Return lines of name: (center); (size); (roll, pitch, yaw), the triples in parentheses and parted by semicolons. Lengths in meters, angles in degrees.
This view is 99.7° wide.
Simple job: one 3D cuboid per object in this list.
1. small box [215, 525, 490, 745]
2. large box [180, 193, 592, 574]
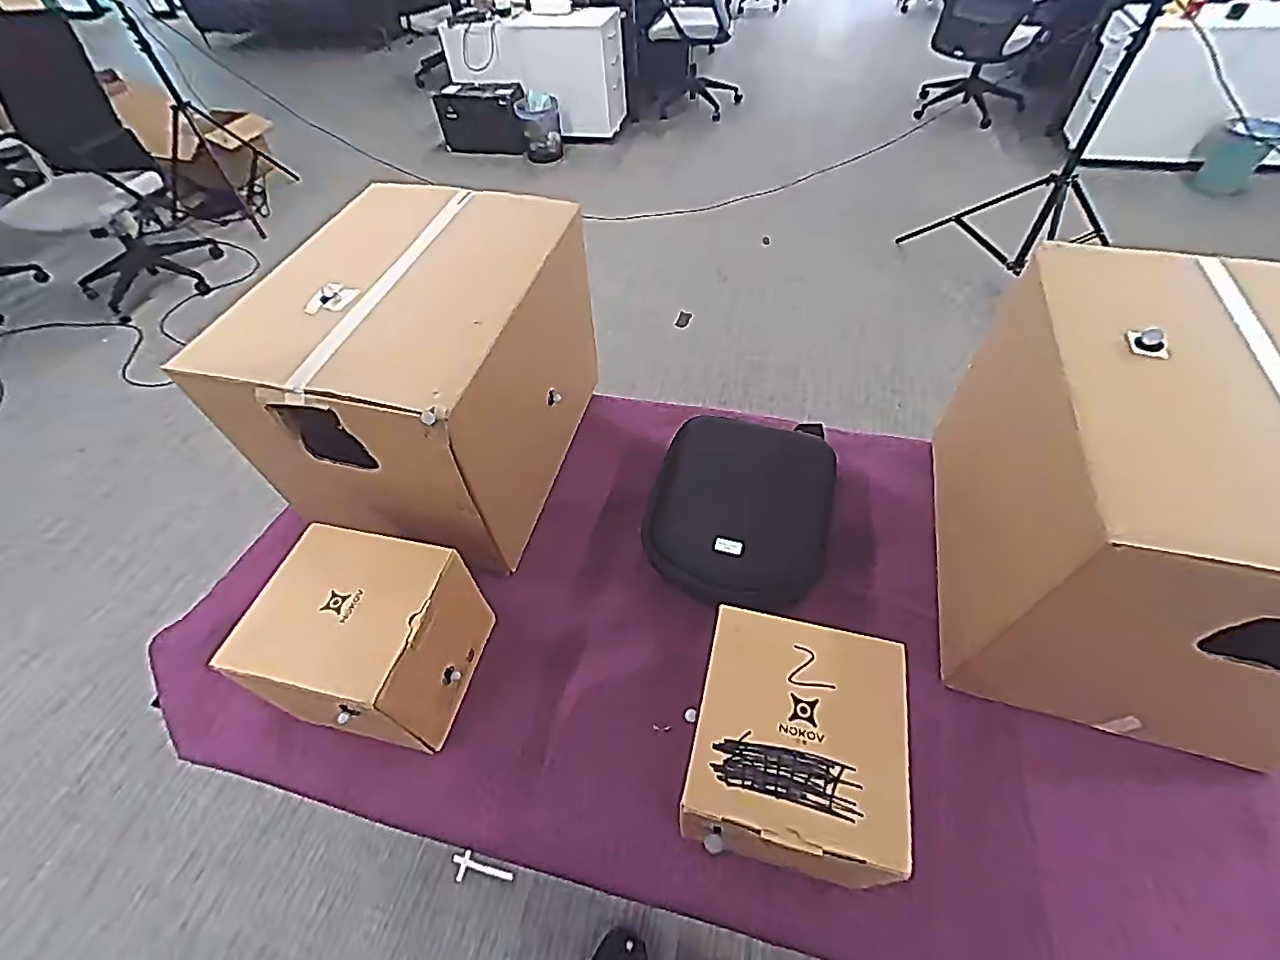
small box: (-0.293, 0.174, 0.598); (0.179, 0.176, 0.168); (8, 51, 9)
large box: (-0.273, -0.137, 0.753); (0.320, 0.320, 0.408); (9, 55, 10)
